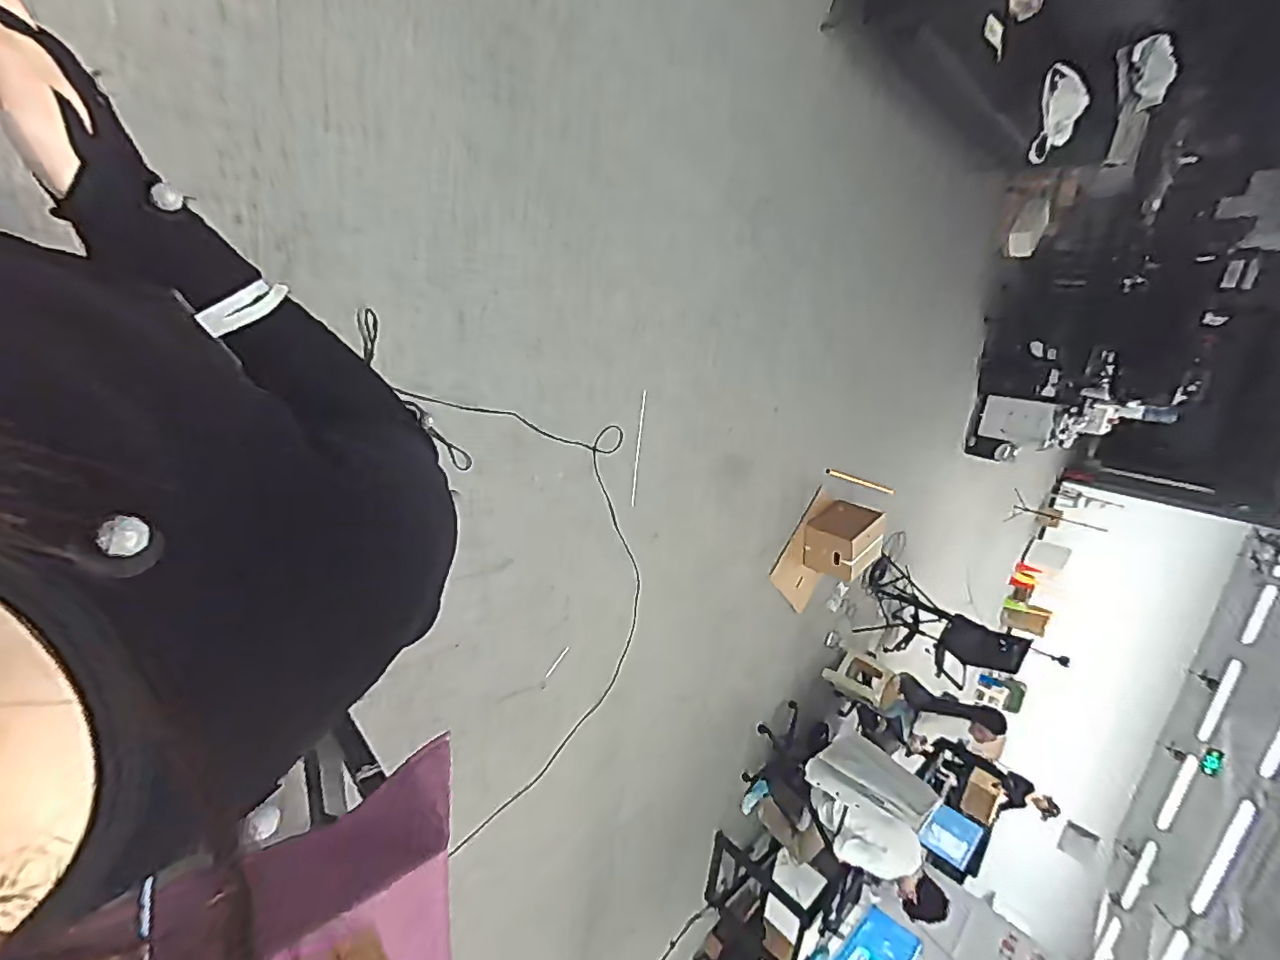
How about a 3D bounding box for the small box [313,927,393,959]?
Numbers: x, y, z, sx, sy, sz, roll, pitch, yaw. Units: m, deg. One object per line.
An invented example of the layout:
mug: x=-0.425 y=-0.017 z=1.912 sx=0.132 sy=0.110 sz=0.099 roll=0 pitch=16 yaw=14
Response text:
small box: x=-0.497 y=0.914 z=0.908 sx=0.168 sy=0.176 sz=0.179 roll=-13 pitch=116 yaw=-42
